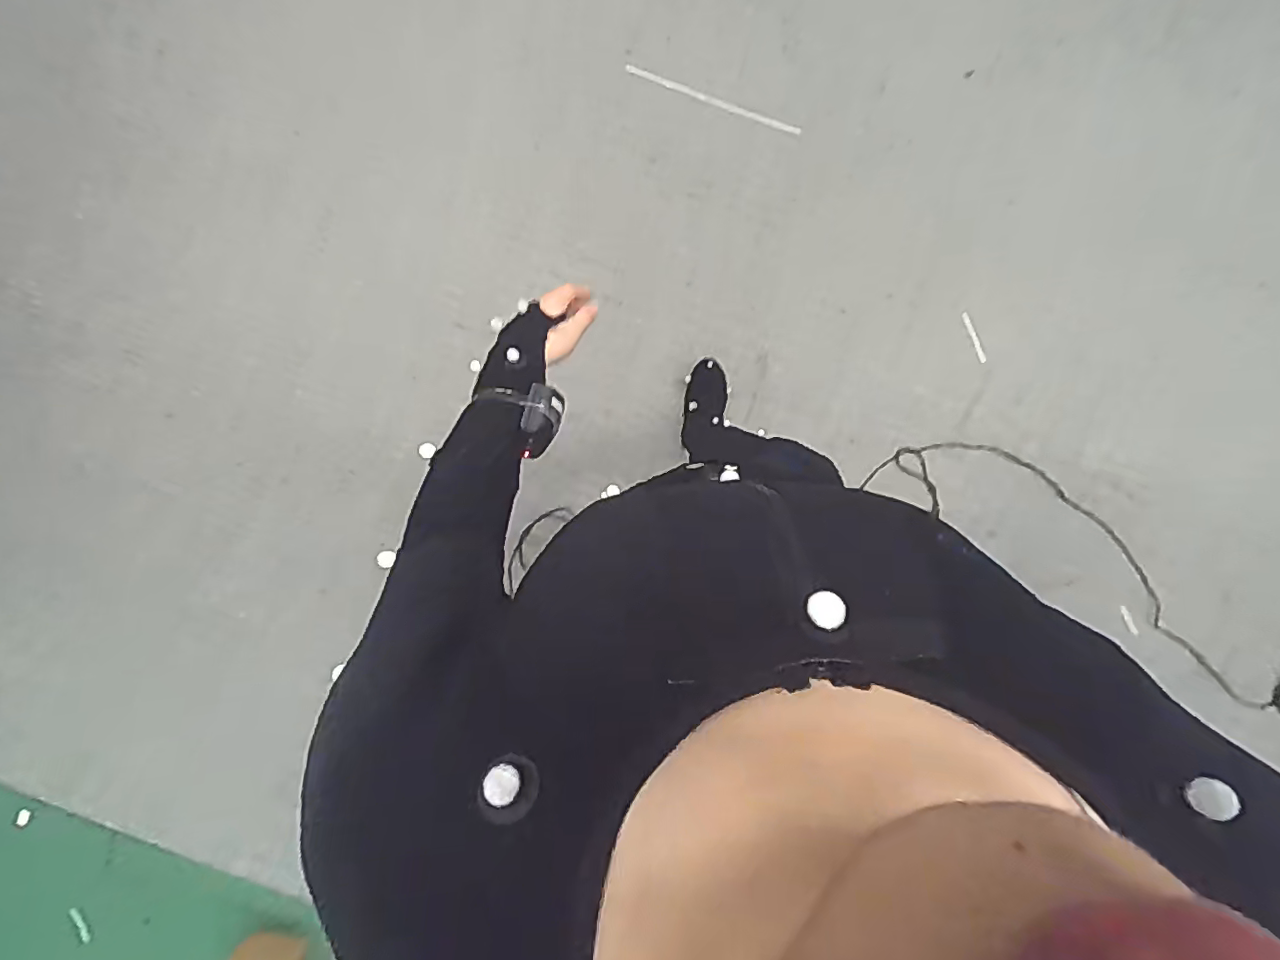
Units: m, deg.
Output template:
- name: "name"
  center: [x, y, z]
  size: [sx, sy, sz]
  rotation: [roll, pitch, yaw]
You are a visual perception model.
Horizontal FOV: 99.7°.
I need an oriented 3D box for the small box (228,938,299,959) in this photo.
- name: "small box"
  center: [-1.099, 1.449, 1.528]
  size: [0.179, 0.176, 0.168]
  rotation: [5, 95, 2]
